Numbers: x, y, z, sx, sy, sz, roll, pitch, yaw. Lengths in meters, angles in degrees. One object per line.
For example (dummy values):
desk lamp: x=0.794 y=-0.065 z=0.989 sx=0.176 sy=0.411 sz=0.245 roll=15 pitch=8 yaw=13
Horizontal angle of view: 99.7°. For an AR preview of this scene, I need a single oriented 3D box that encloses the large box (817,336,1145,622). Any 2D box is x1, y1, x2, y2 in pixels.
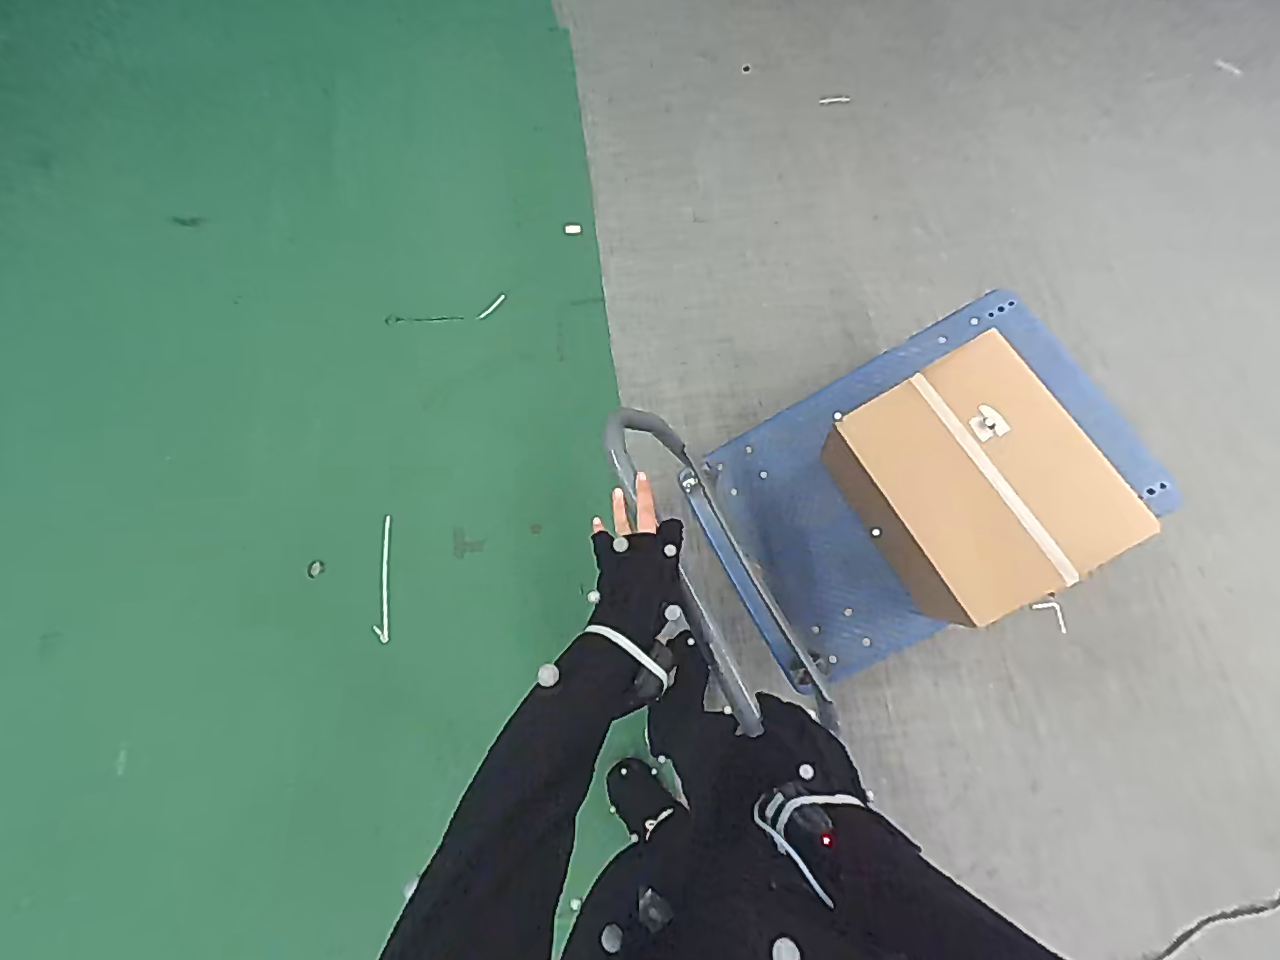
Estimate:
large box: x=0.594 y=0.016 z=1.043 sx=0.320 sy=0.320 sz=0.408 roll=-32 pitch=73 yaw=6
